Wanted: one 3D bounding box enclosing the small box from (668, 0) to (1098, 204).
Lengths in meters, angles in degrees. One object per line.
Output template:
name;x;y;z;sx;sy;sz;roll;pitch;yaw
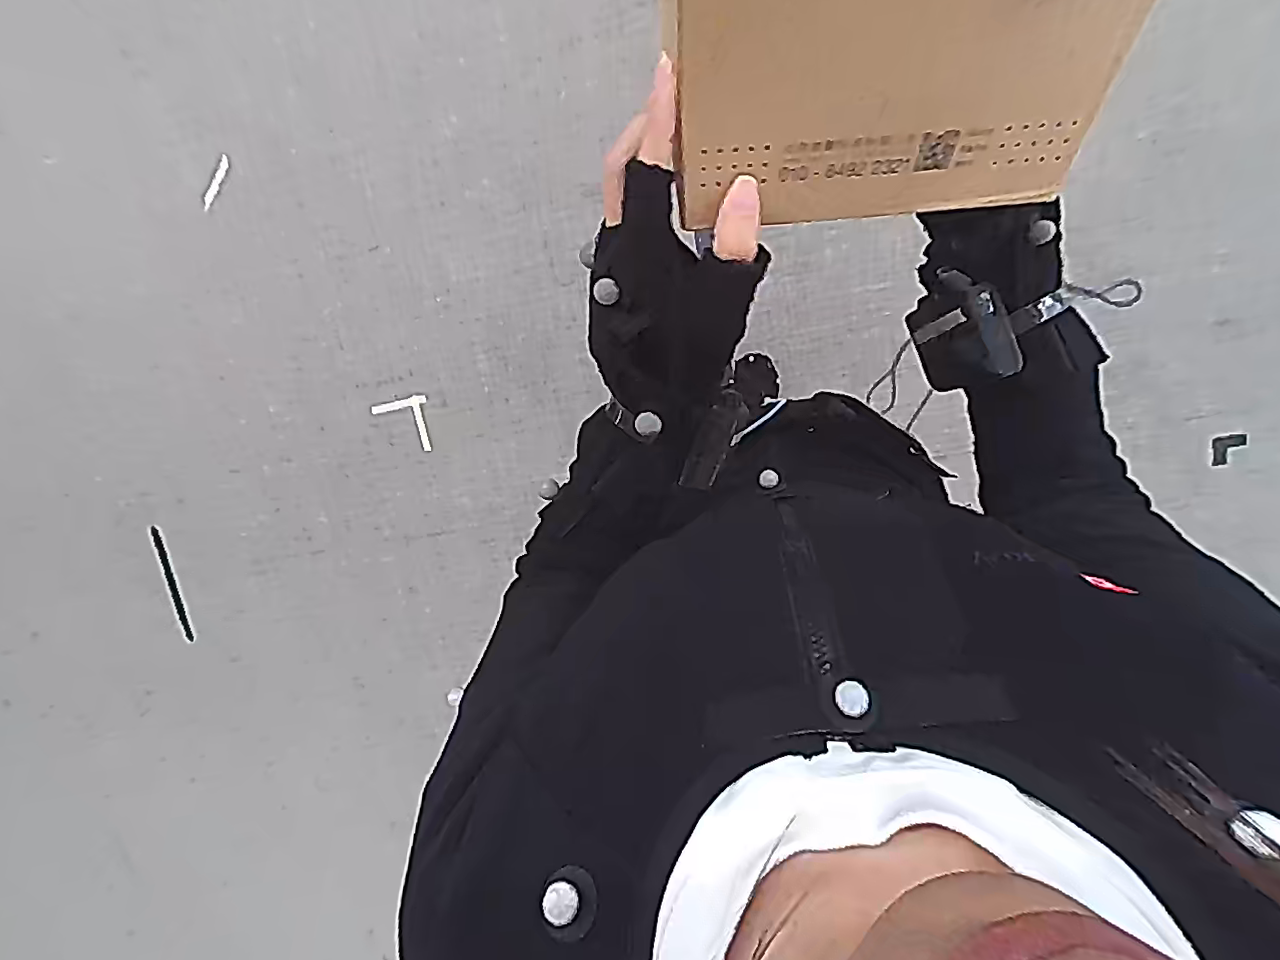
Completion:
small box;0.095;-0.244;0.248;0.168;0.179;0.176;-2;142;3
